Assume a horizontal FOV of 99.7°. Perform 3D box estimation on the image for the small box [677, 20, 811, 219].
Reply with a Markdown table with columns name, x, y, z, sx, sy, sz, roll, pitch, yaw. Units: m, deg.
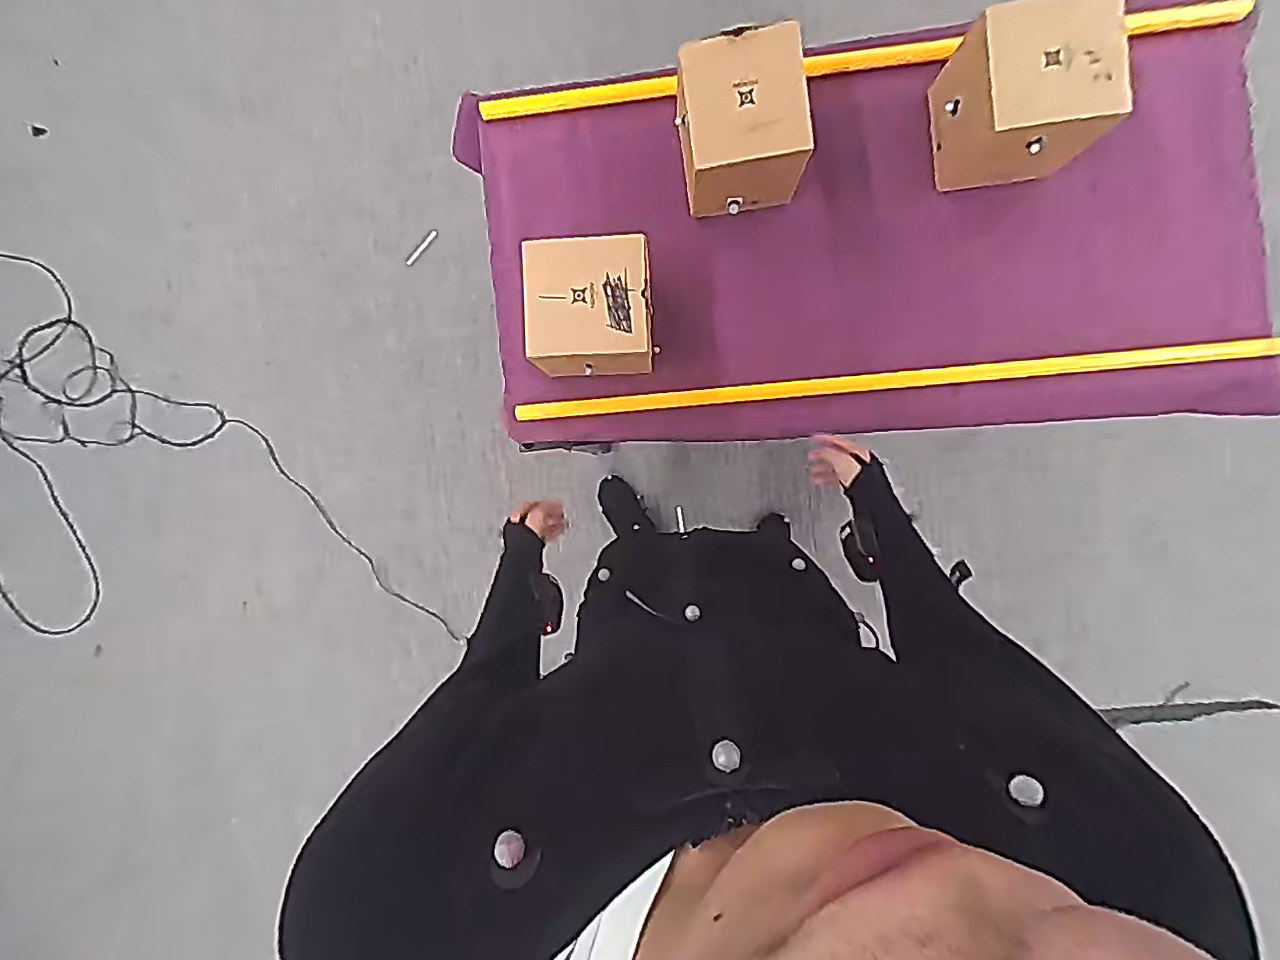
| name | x | y | z | sx | sy | sz | roll | pitch | yaw |
| --- | --- | --- | --- | --- | --- | --- | --- | --- | --- |
| small box | 0.147 | -0.527 | 0.815 | 0.168 | 0.176 | 0.179 | -8 | 92 | 5 |

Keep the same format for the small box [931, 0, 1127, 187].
| name | x | y | z | sx | sy | sz | roll | pitch | yaw |
| --- | --- | --- | --- | --- | --- | --- | --- | --- | --- |
| small box | 0.546 | -0.553 | 0.786 | 0.179 | 0.176 | 0.168 | -6 | 92 | 4 |

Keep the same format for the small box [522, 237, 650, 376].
| name | x | y | z | sx | sy | sz | roll | pitch | yaw |
| --- | --- | --- | --- | --- | --- | --- | --- | --- | --- |
| small box | -0.074 | -0.257 | 0.832 | 0.179 | 0.176 | 0.168 | -2 | 91 | 3 |
